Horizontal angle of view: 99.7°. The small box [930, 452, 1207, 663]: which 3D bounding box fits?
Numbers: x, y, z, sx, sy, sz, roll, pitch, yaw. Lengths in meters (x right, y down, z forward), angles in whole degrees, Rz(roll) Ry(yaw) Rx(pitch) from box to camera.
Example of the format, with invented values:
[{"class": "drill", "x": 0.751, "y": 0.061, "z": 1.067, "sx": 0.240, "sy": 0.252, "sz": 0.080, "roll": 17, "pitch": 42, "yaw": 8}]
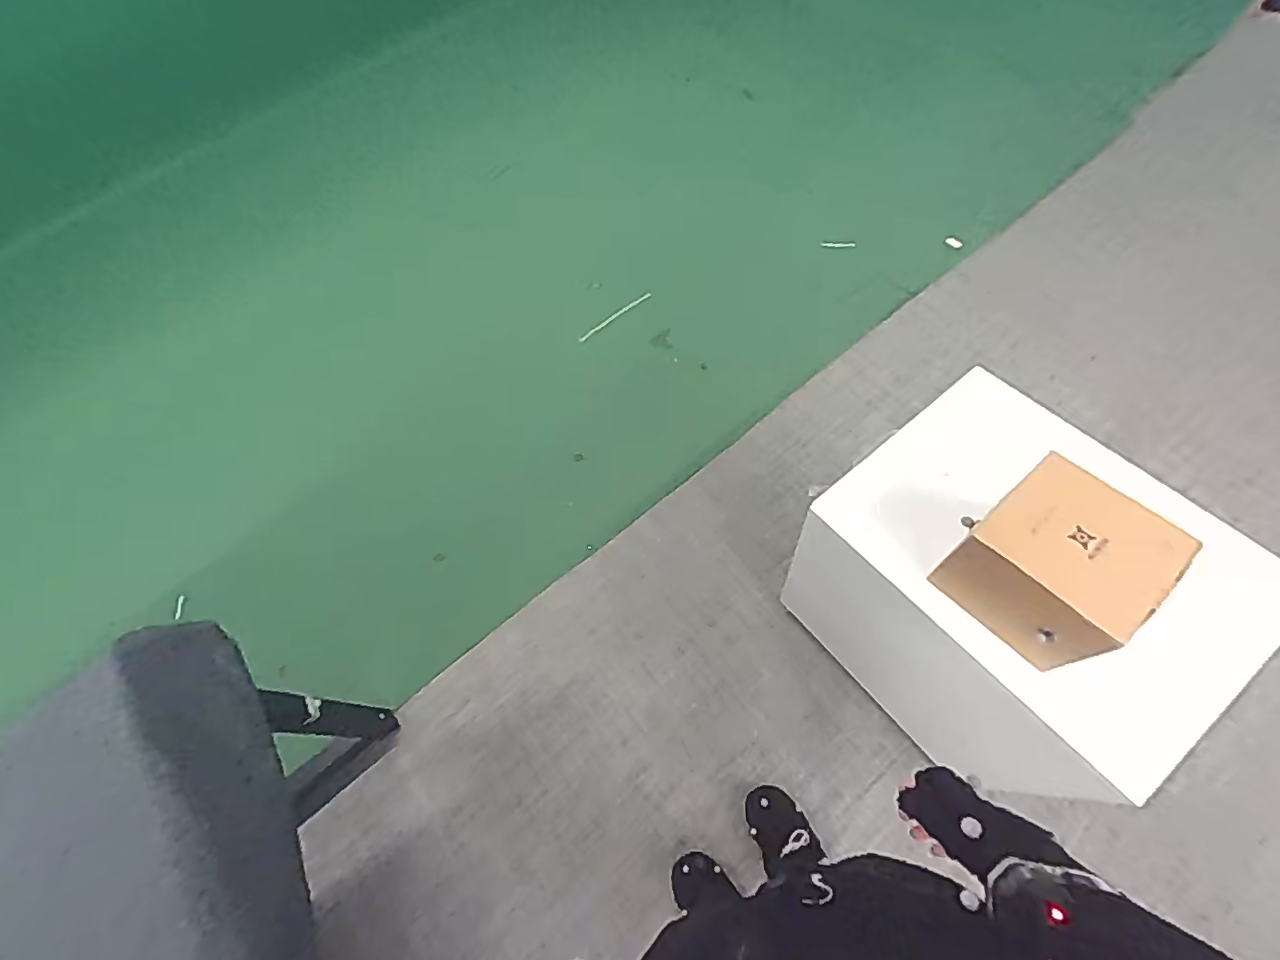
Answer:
[{"class": "small box", "x": 0.505, "y": 0.105, "z": 0.668, "sx": 0.168, "sy": 0.176, "sz": 0.179, "roll": -40, "pitch": 62, "yaw": -13}]
